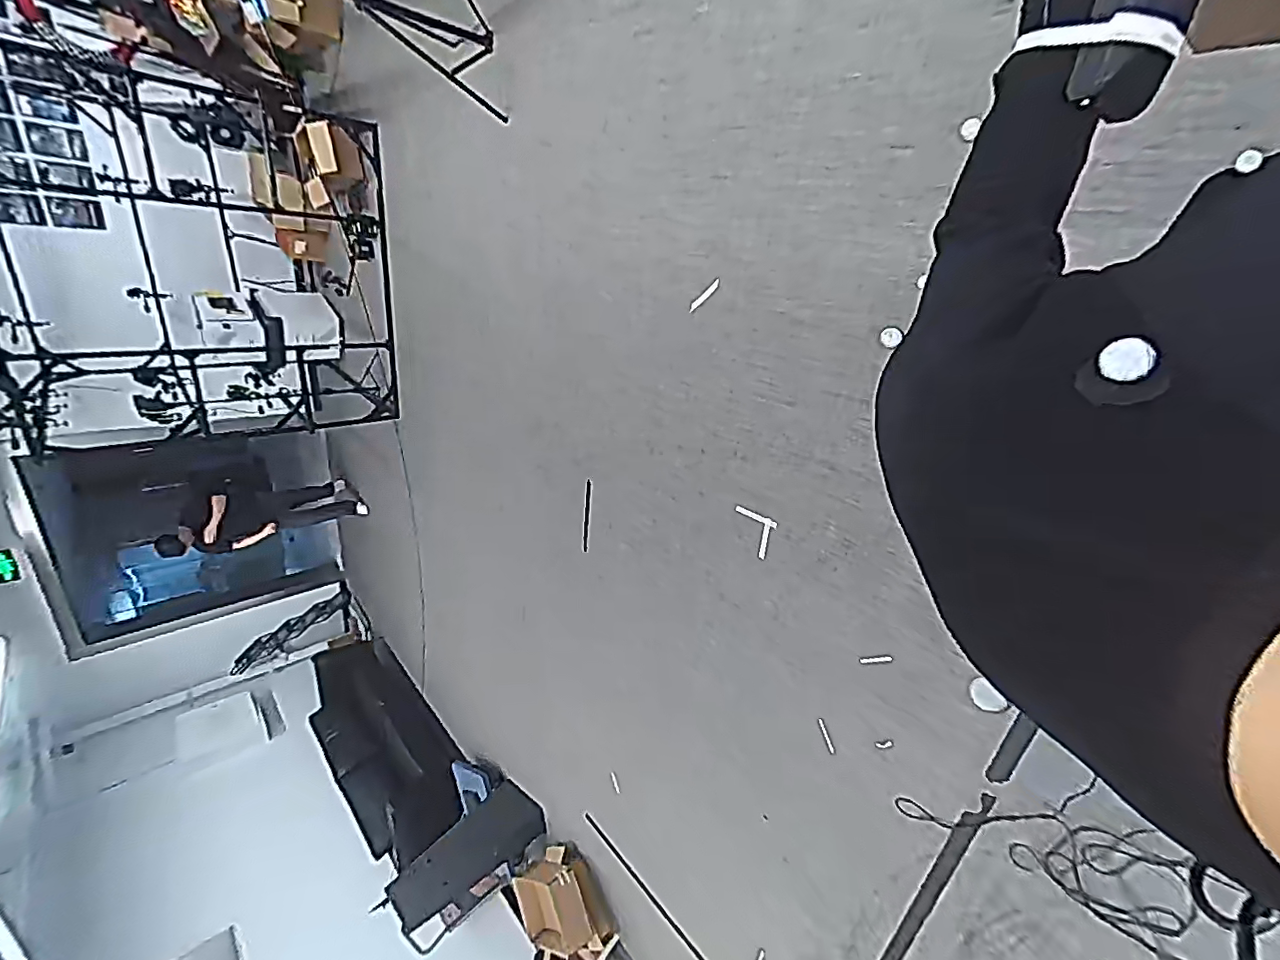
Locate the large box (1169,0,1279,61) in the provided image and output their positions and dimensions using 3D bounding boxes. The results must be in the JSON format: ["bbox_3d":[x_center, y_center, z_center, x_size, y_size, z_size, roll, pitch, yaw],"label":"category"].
[{"bbox_3d":[0.572,-0.447,0.252,0.408,0.320,0.320,23,125,39],"label":"large box"}]
